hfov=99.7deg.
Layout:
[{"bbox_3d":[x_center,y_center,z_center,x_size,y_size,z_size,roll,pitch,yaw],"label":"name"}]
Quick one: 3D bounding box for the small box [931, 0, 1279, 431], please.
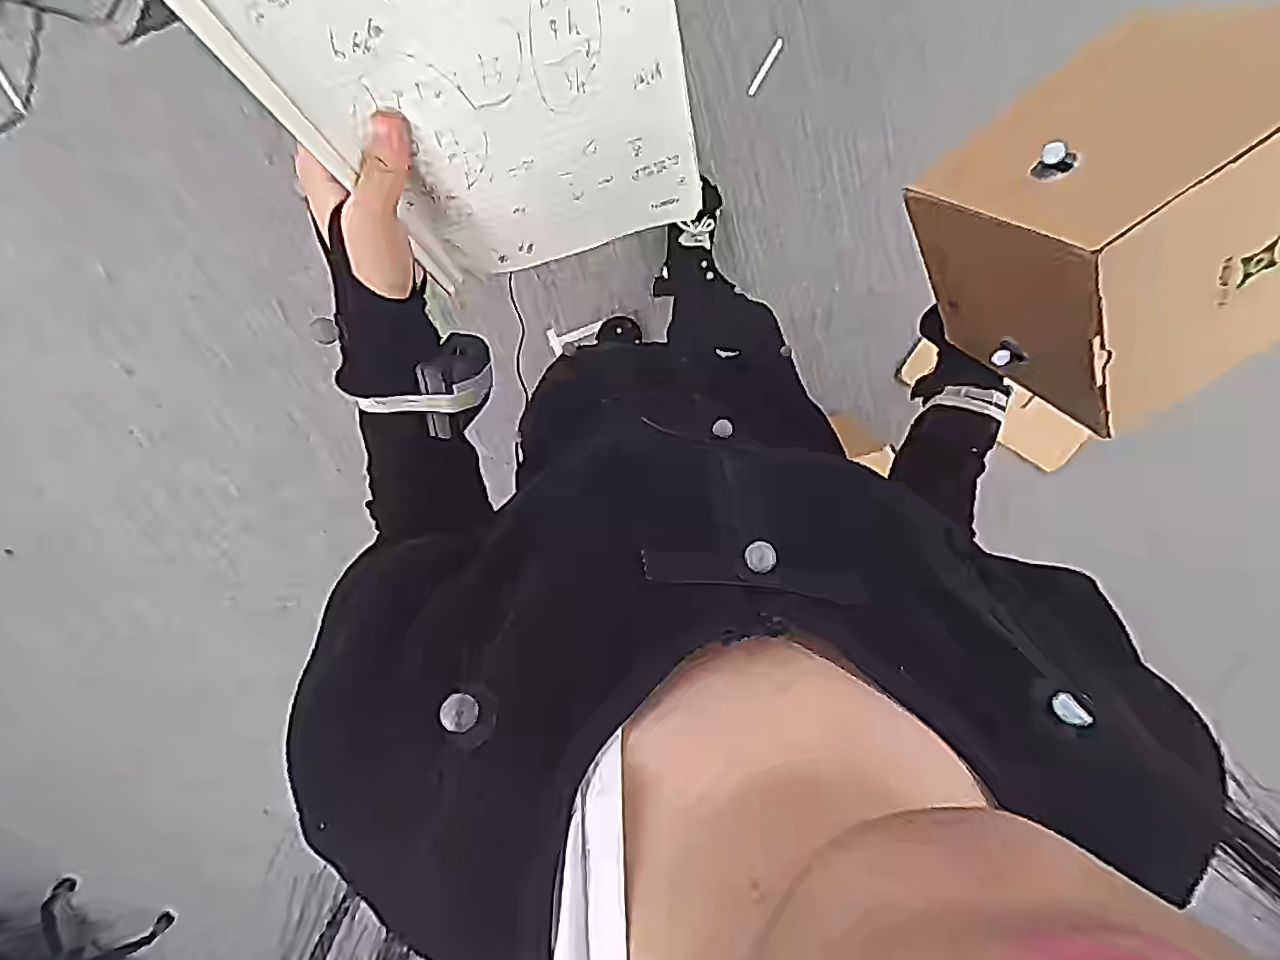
[{"bbox_3d":[0.327,-0.173,0.362,0.179,0.176,0.168,-37,130,13],"label":"small box"}]
